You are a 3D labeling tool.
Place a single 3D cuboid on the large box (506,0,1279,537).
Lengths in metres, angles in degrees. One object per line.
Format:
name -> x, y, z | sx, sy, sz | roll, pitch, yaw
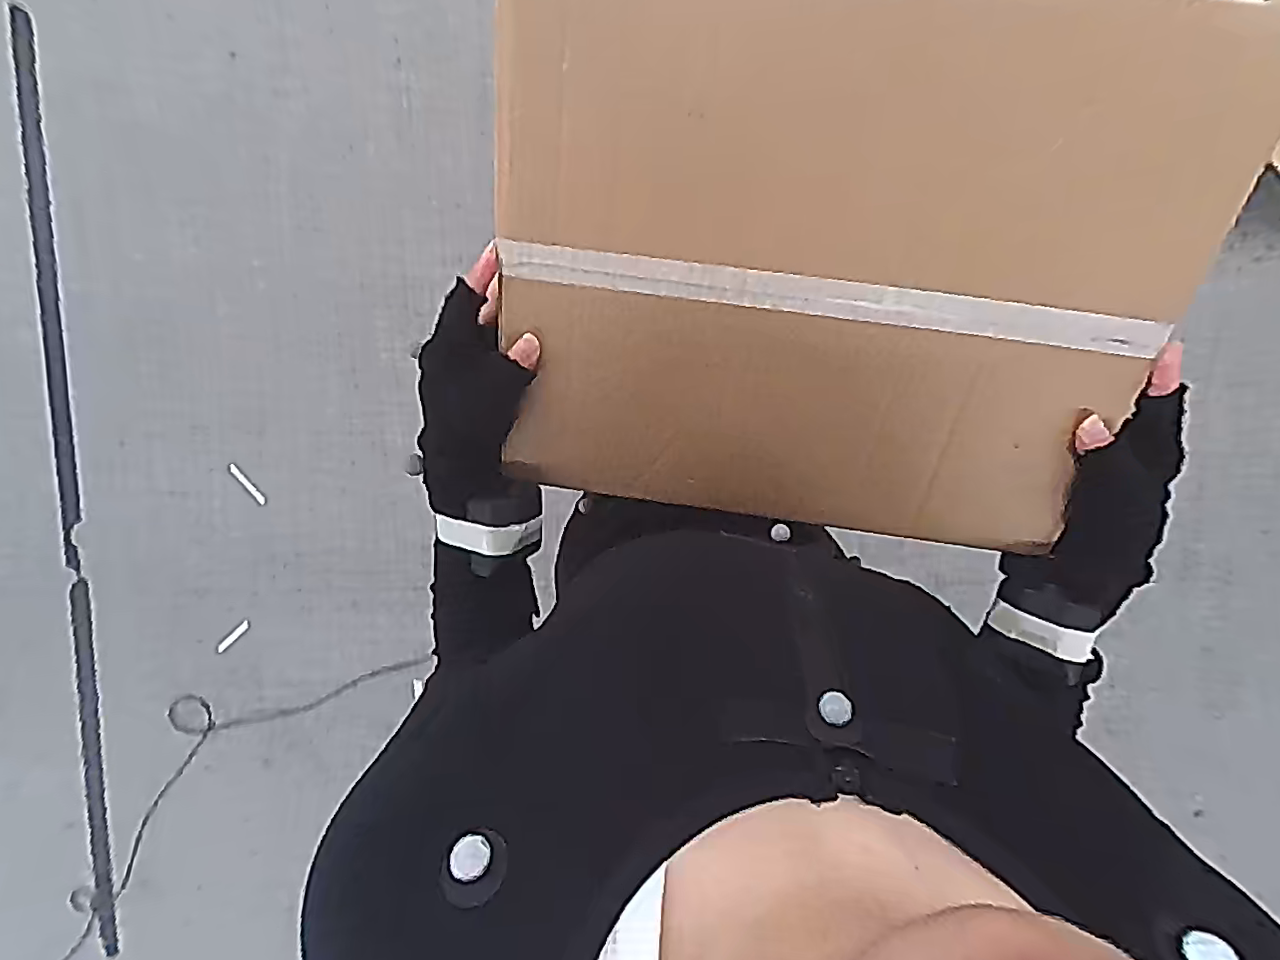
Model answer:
large box -> 0.123, -0.183, 0.471 | 0.408, 0.320, 0.320 | 8, 118, 1
